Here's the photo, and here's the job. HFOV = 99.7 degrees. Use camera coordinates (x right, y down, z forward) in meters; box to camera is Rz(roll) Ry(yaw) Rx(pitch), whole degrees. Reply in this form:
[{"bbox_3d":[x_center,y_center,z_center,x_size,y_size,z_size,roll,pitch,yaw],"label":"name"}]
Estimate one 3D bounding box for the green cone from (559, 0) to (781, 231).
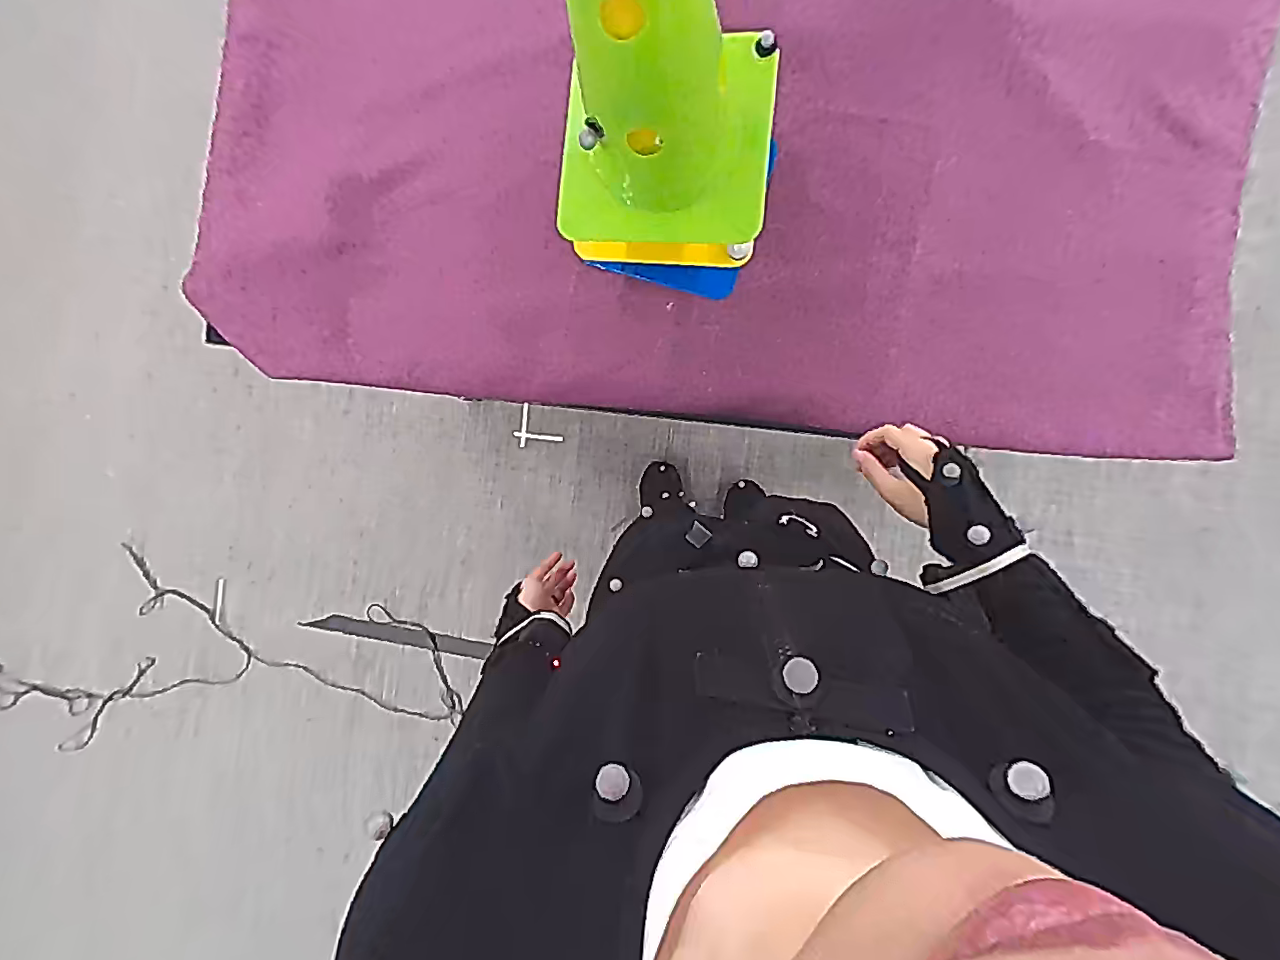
[{"bbox_3d":[-0.007,-0.336,0.340,0.200,0.368,0.202,5,90,10],"label":"green cone"}]
